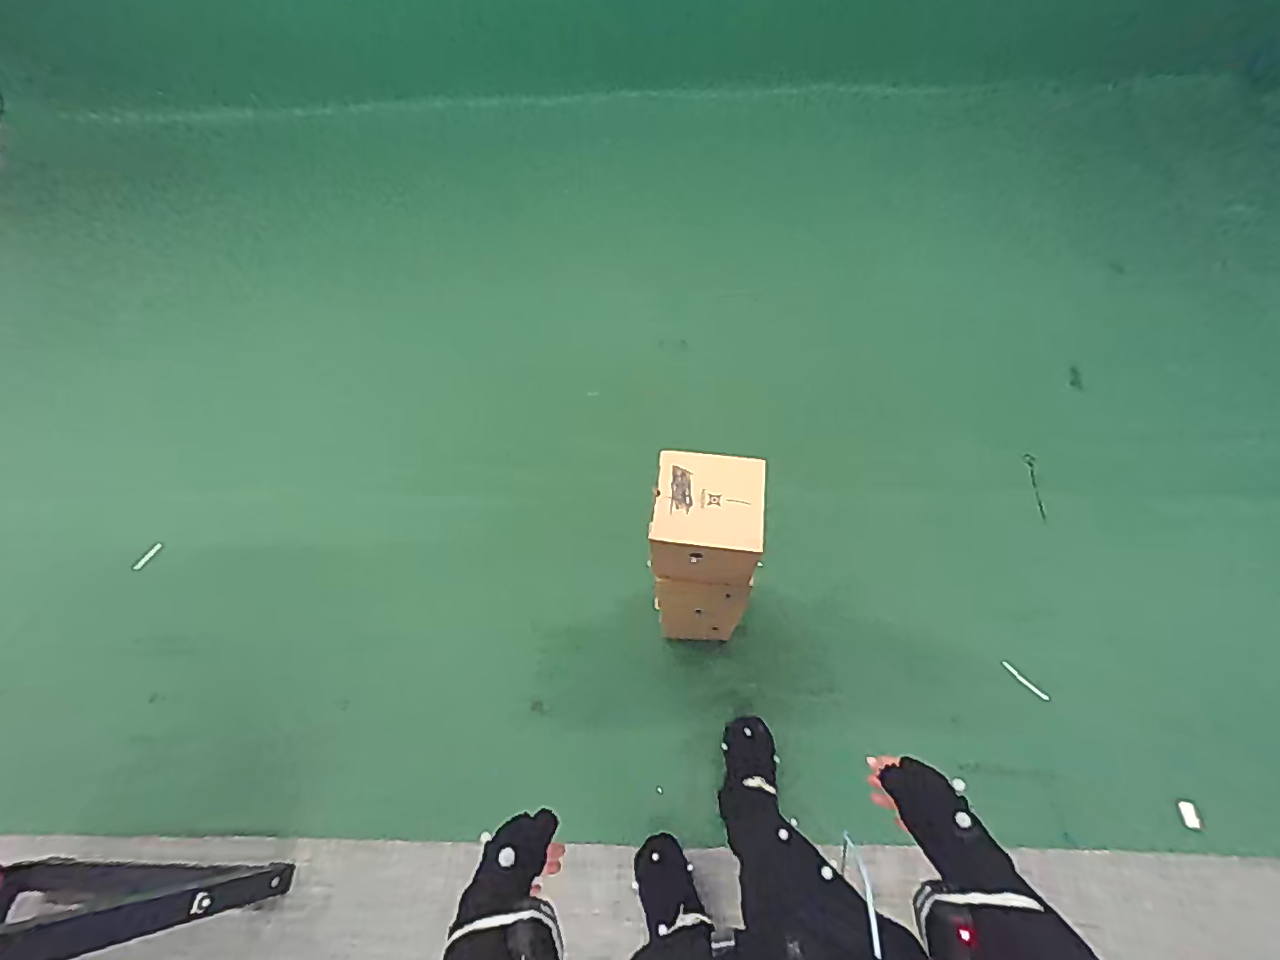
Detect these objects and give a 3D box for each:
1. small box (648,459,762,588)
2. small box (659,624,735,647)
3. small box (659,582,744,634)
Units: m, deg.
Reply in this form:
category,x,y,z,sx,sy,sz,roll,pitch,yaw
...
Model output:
category,x,y,z,sx,sy,sz,roll,pitch,yaw
small box,0.111,0.079,0.928,0.179,0.176,0.168,3,61,5
small box,0.138,0.316,1.358,0.179,0.176,0.168,2,60,3
small box,0.133,0.242,1.213,0.179,0.176,0.168,2,61,4
